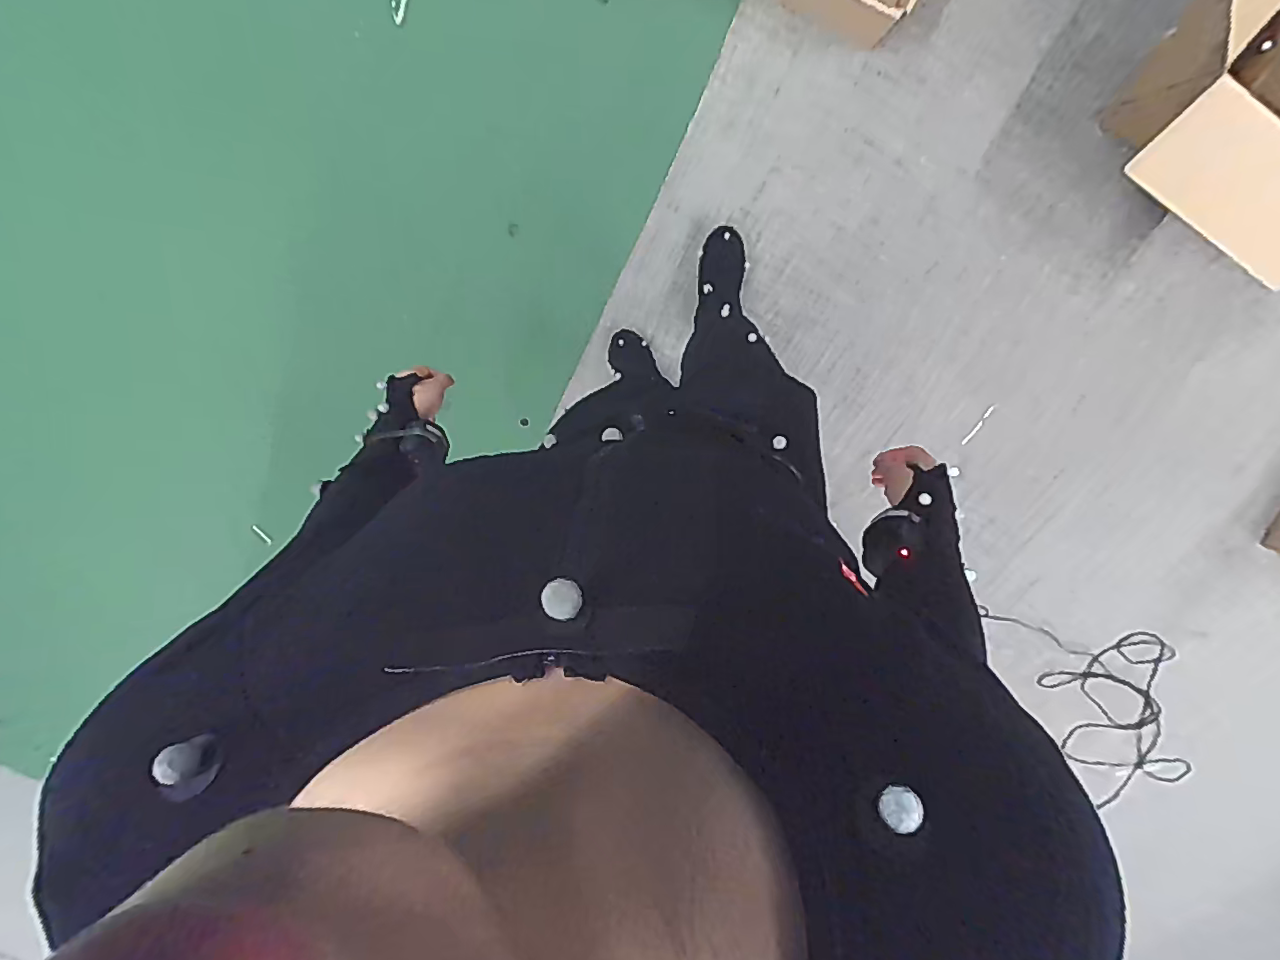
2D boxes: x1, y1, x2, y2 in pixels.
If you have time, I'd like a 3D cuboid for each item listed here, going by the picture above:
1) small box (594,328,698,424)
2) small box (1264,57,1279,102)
[{"bbox_3d":[0.017,-0.251,1.320,0.176,0.168,0.179,19,89,-31],"label":"small box"},{"bbox_3d":[1.178,-0.695,0.845,0.168,0.176,0.179,26,112,-2],"label":"small box"}]
